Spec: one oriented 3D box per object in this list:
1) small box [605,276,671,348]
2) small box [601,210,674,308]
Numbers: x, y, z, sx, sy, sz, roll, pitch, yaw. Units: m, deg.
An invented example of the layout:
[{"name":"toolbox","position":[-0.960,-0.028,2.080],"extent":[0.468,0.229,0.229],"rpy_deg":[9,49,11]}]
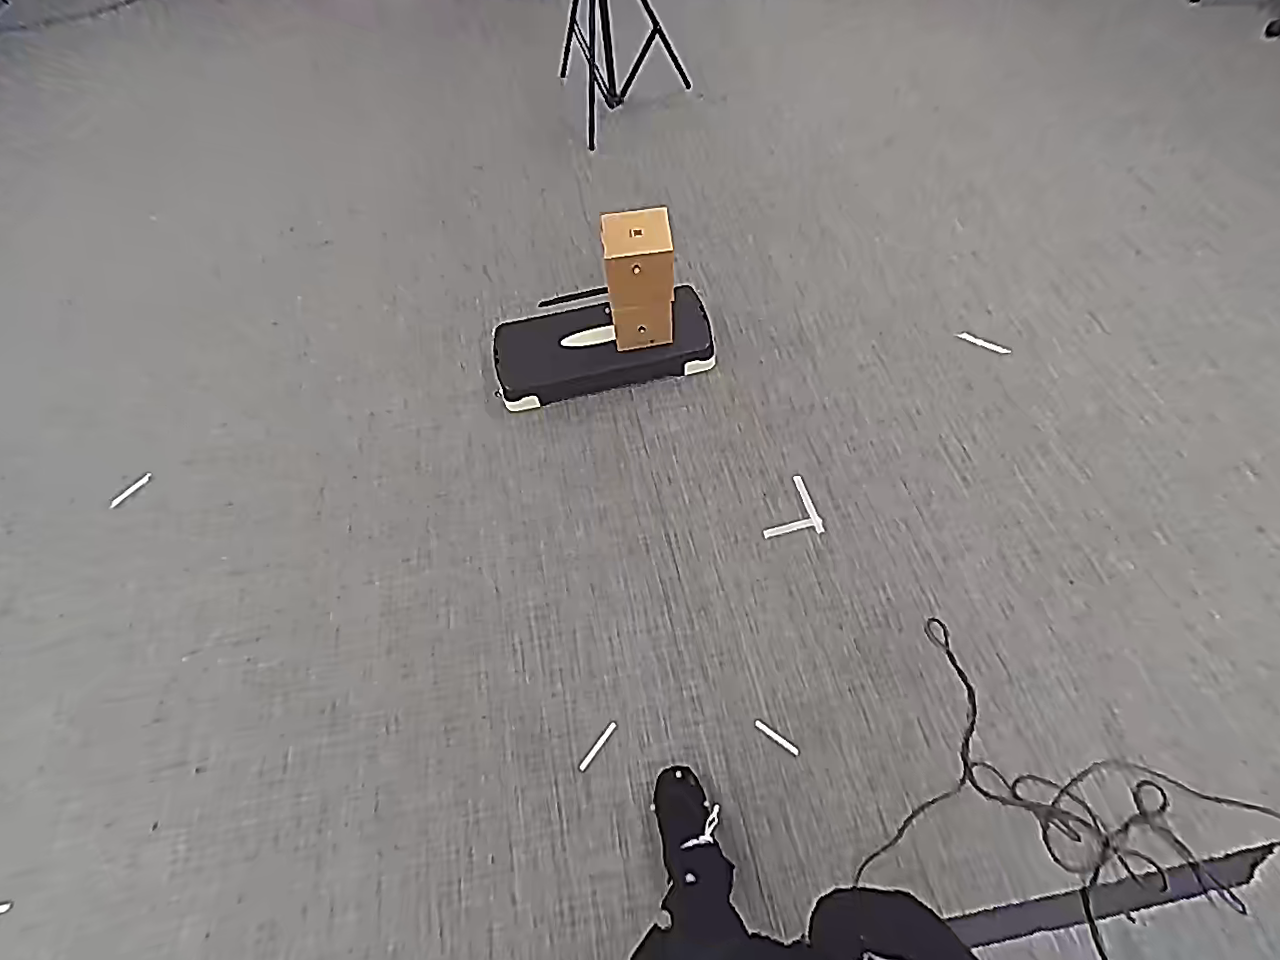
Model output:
[{"name":"small box","position":[-0.004,-0.503,1.575],"extent":[0.168,0.176,0.179],"rpy_deg":[-9,62,0]},{"name":"small box","position":[-0.004,-0.580,1.431],"extent":[0.179,0.176,0.168],"rpy_deg":[-7,63,2]}]
